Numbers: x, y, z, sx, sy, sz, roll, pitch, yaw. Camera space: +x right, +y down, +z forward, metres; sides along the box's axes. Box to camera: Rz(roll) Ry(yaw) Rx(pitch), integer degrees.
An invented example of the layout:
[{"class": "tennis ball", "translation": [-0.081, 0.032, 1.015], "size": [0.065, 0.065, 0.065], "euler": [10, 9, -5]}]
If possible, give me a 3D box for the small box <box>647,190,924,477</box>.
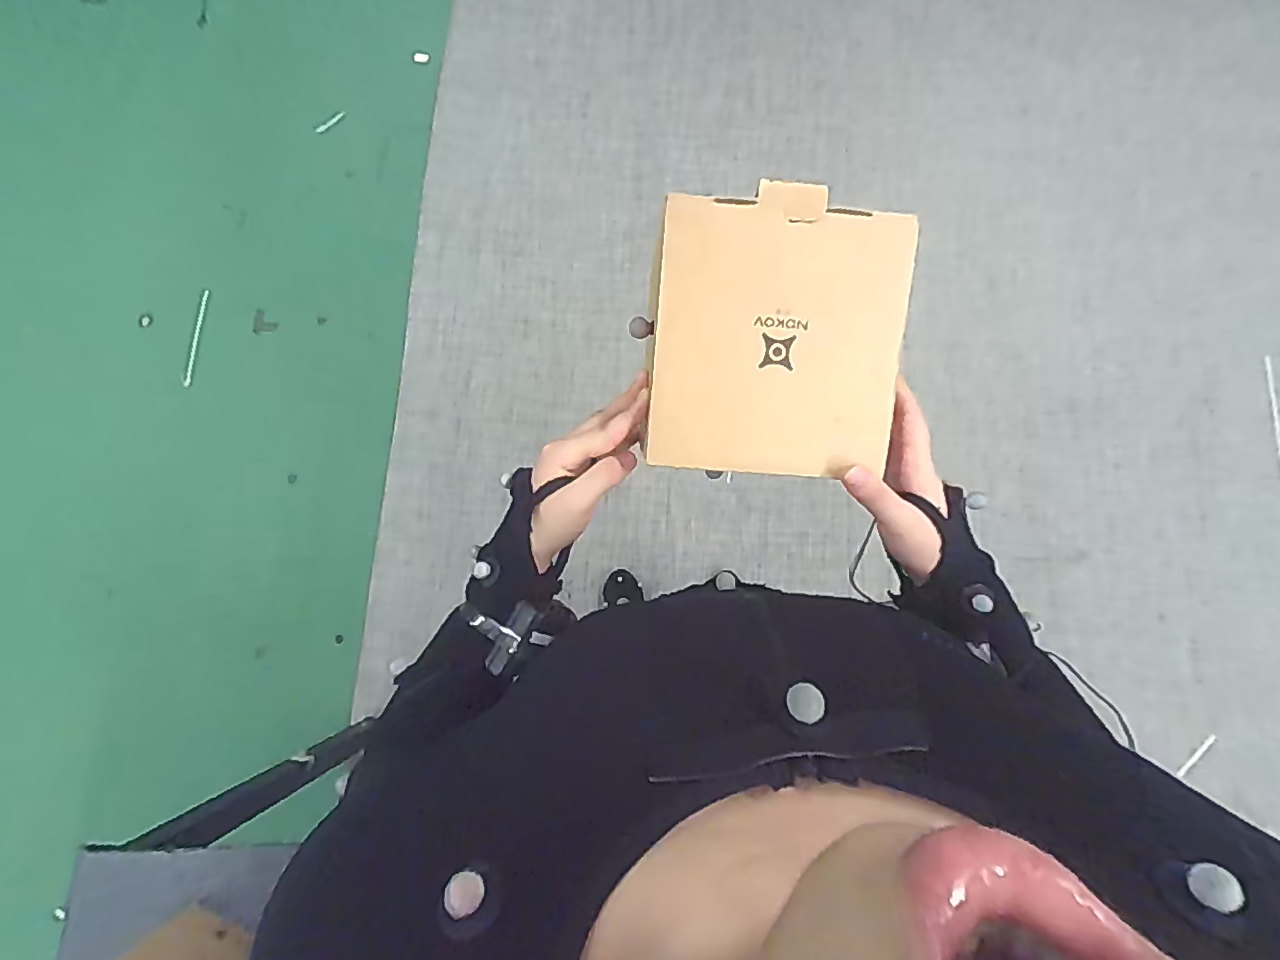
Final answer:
[{"class": "small box", "translation": [0.094, -0.104, 0.434], "size": [0.168, 0.176, 0.179], "euler": [4, 97, -2]}]
